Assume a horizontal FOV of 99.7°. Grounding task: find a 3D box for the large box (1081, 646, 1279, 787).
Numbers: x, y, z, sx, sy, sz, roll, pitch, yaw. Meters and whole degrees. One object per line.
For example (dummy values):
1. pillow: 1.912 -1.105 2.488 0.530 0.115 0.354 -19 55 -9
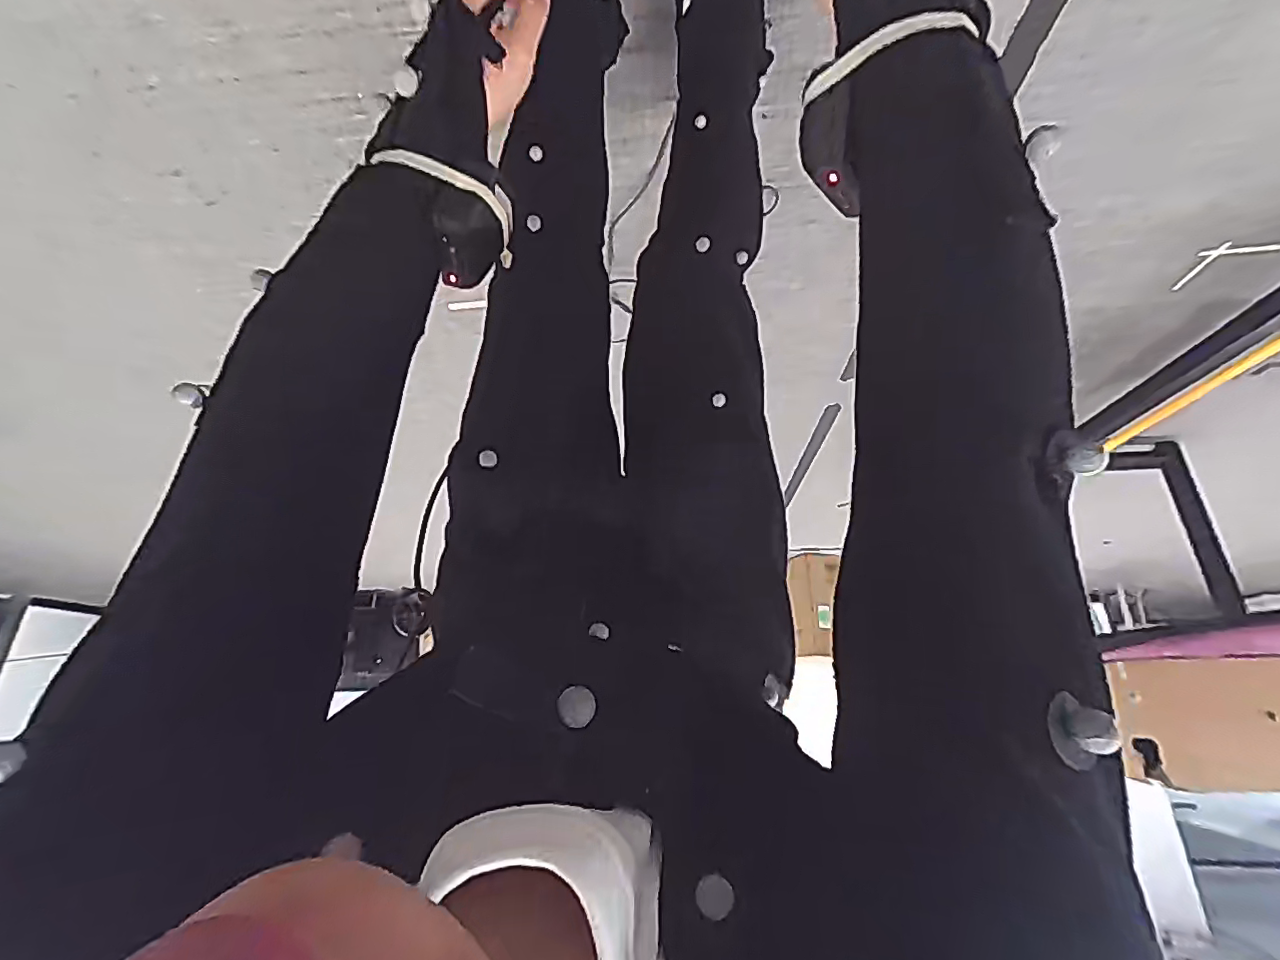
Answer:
1. large box: 1.533 0.624 1.449 0.408 0.320 0.320 -4 159 5
